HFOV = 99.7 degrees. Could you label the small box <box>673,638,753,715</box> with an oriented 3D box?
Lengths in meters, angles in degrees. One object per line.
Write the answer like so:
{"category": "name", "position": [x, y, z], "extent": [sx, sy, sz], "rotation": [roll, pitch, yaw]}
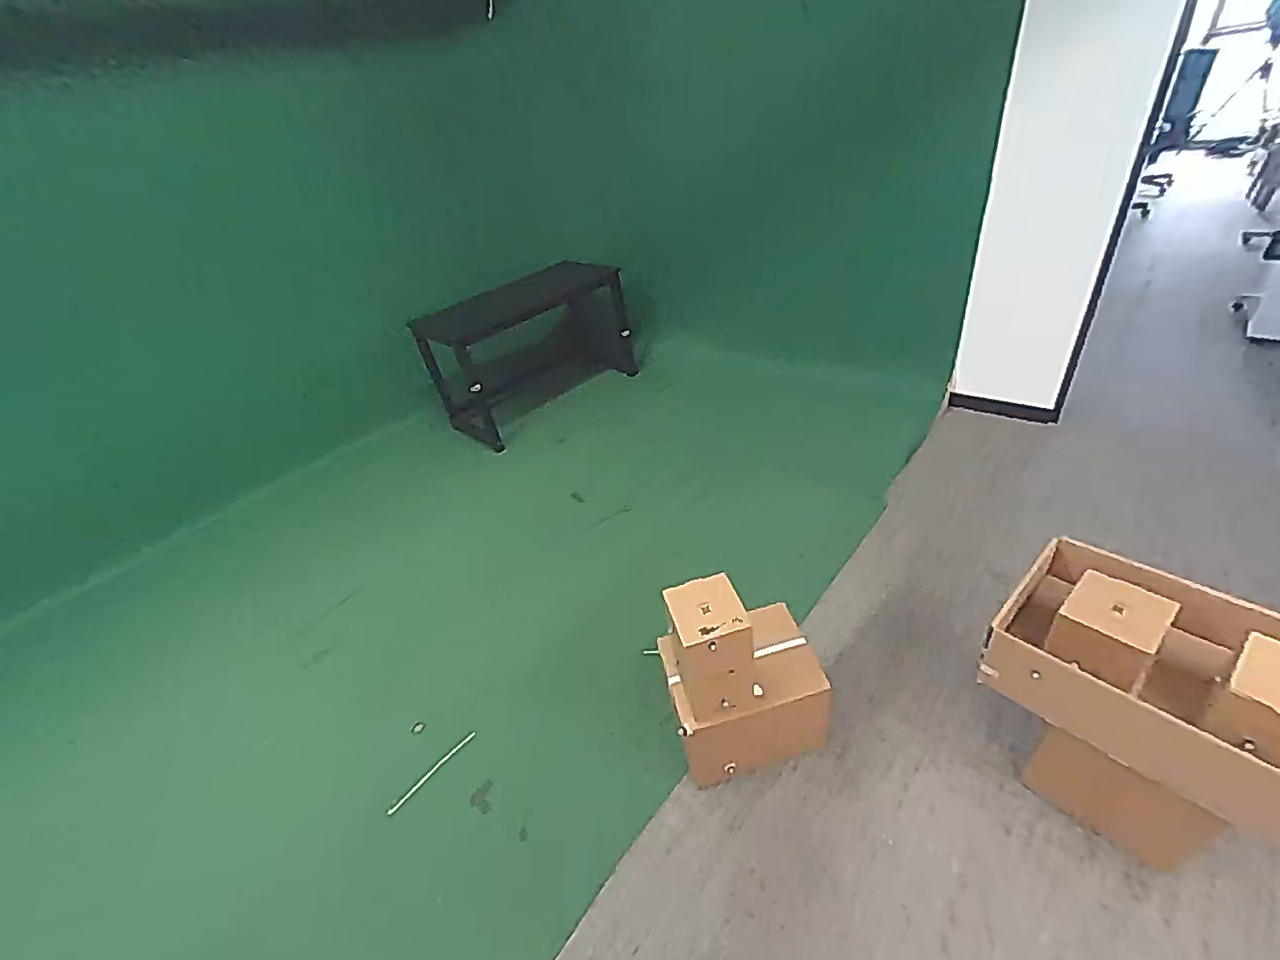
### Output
{"category": "small box", "position": [0.186, 0.475, 1.410], "extent": [0.168, 0.176, 0.179], "rotation": [-15, 37, -6]}

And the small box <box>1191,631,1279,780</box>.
{"category": "small box", "position": [1.210, 0.433, 1.030], "extent": [0.179, 0.176, 0.168], "rotation": [-34, 42, -26]}

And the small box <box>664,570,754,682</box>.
{"category": "small box", "position": [0.165, 0.351, 1.305], "extent": [0.168, 0.176, 0.179], "rotation": [-15, 36, -6]}
